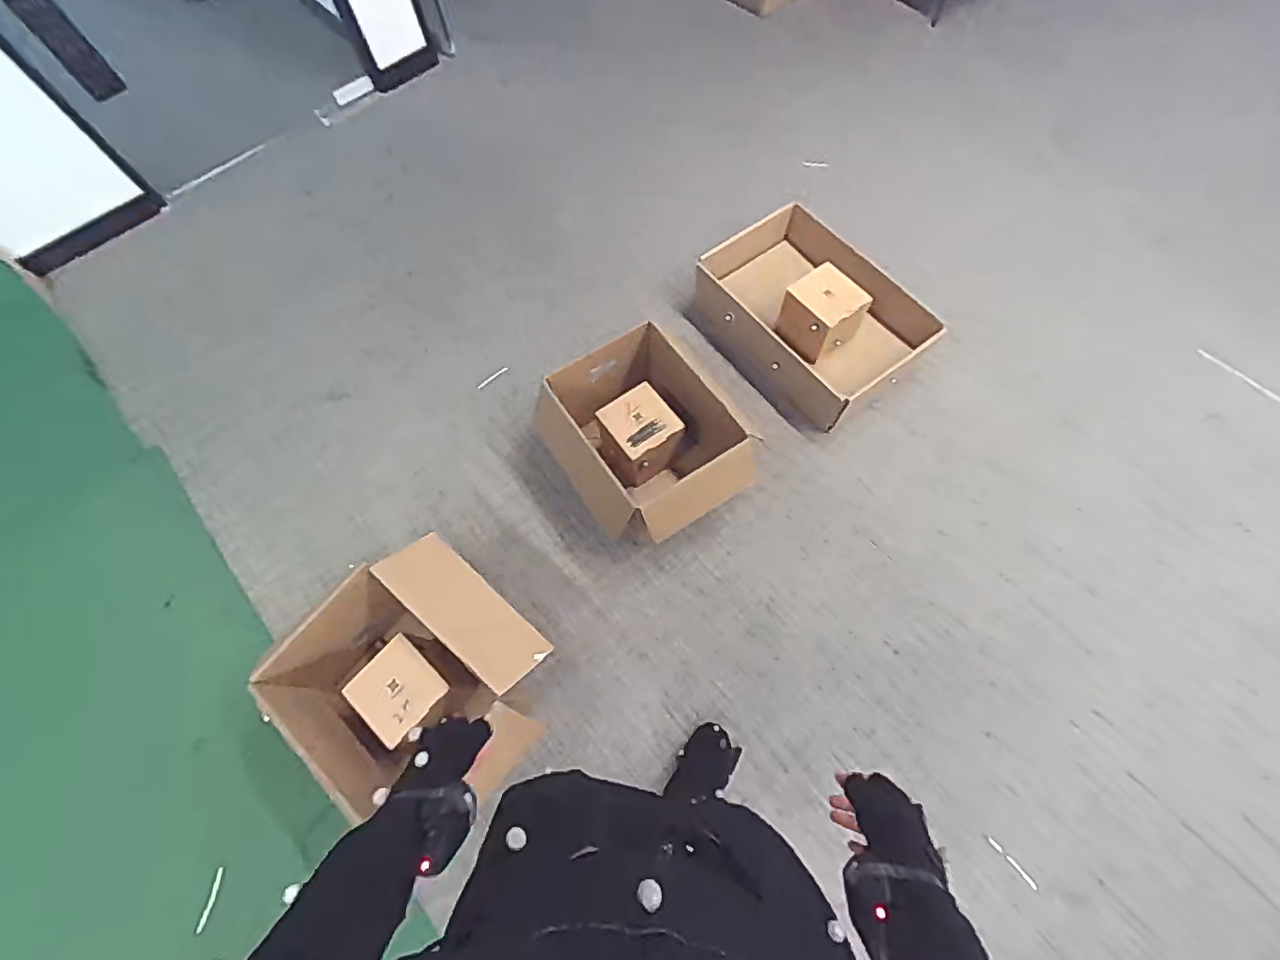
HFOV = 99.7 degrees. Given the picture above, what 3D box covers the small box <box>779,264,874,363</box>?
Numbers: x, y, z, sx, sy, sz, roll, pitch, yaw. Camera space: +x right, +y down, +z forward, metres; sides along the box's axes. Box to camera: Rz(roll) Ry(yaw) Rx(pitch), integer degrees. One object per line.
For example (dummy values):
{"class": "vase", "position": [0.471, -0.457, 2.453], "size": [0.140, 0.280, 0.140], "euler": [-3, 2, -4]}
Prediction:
{"class": "small box", "position": [0.527, -0.474, 1.555], "size": [0.168, 0.176, 0.179], "euler": [-35, 69, -12]}
